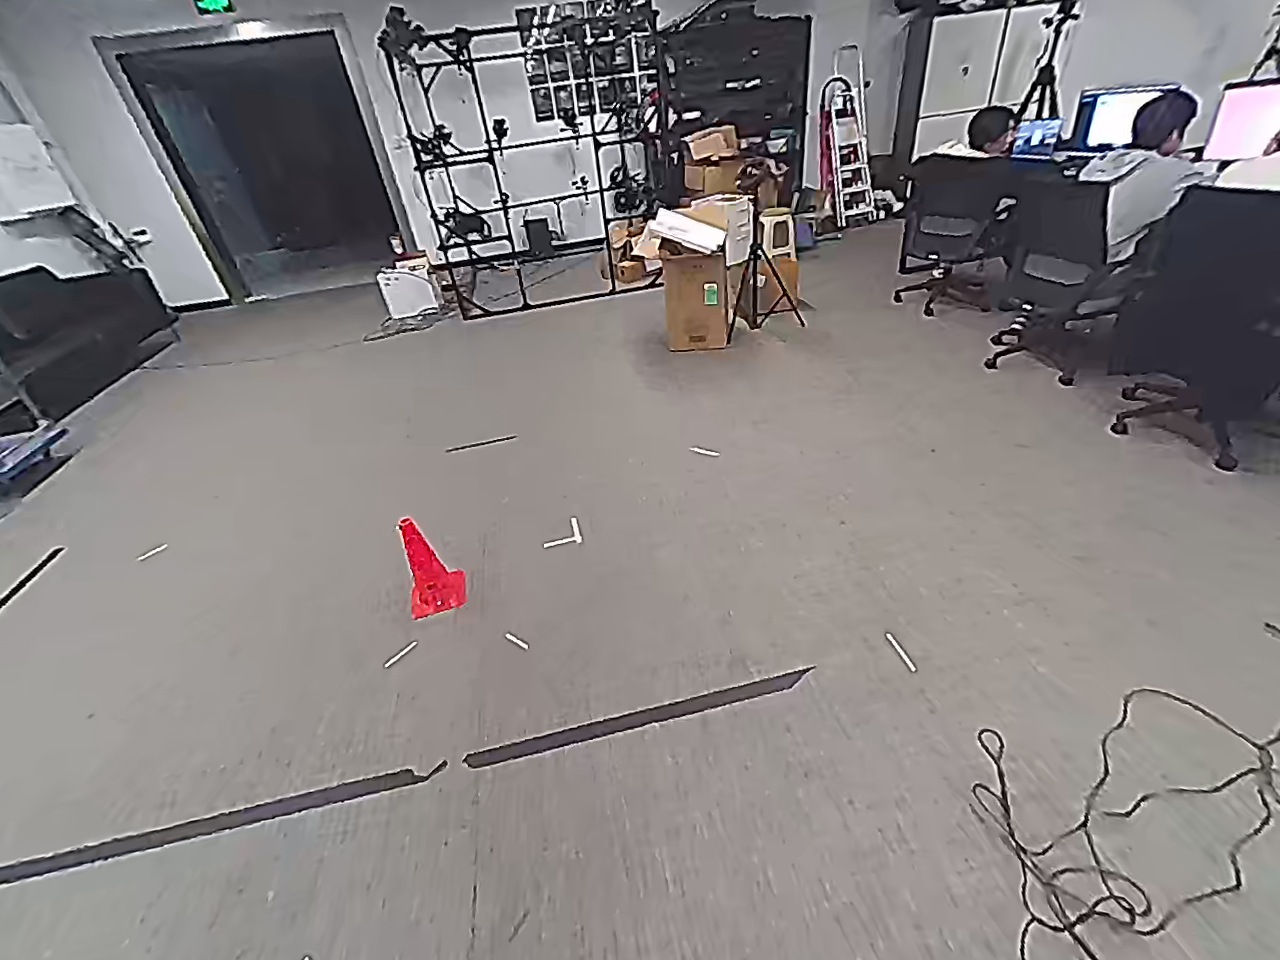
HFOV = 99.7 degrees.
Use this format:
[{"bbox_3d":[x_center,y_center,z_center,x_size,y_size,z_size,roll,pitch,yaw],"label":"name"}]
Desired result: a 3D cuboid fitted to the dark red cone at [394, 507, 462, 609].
[{"bbox_3d":[-0.787,0.260,1.922,0.202,0.394,0.201,-17,36,-12],"label":"dark red cone"}]
